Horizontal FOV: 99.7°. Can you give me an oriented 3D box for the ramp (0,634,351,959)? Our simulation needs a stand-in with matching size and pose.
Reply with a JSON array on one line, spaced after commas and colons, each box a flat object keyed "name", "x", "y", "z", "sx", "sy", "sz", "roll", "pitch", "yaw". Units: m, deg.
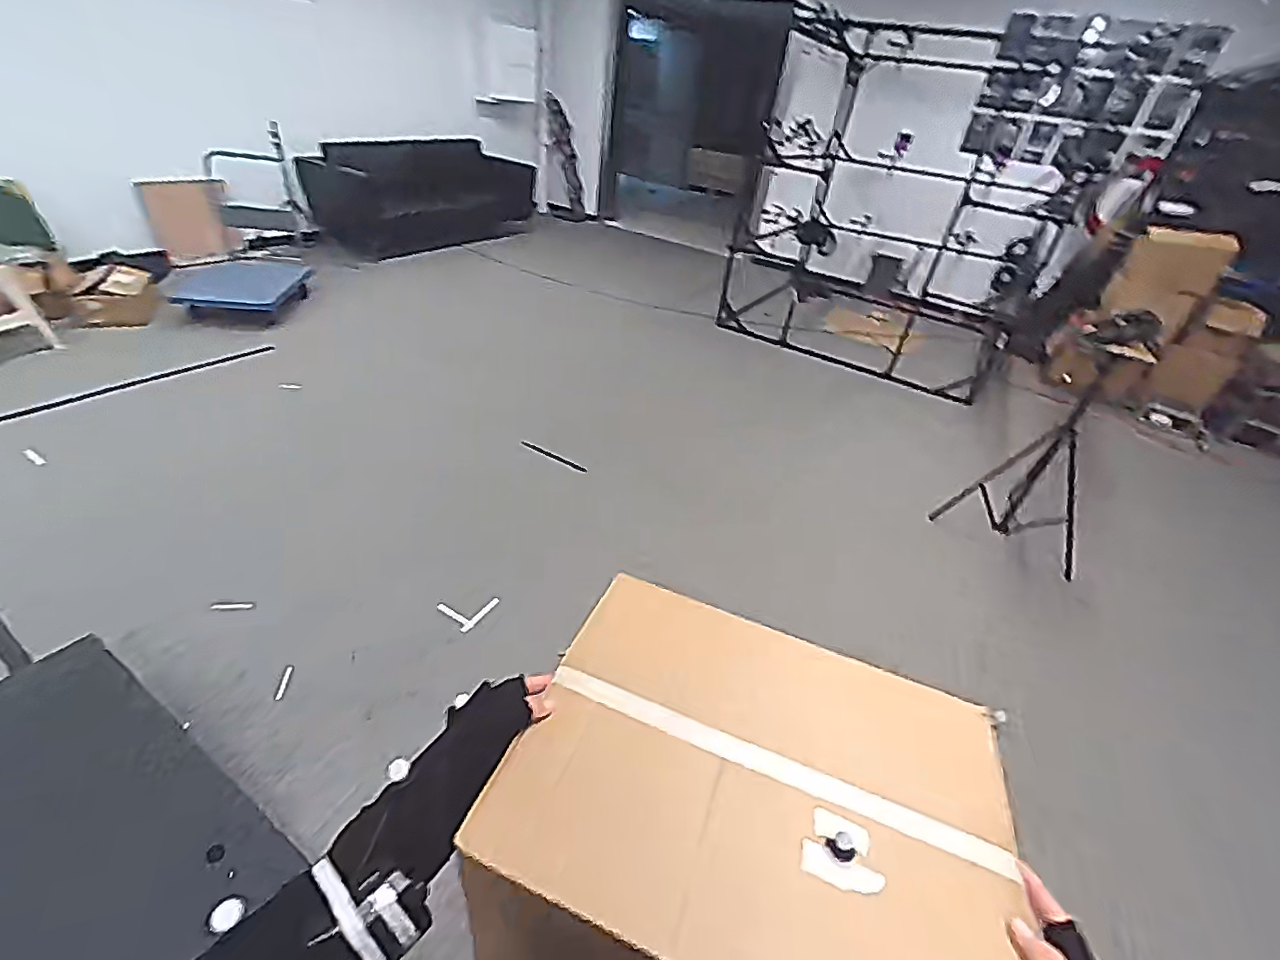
[{"name": "ramp", "x": -1.170, "y": 0.787, "z": 1.175, "sx": 0.991, "sy": 0.206, "sz": 0.509, "roll": 24, "pitch": 37, "yaw": 20}]

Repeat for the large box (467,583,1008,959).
[{"name": "large box", "x": 0.081, "y": 0.374, "z": 0.565, "sx": 0.408, "sy": 0.320, "sz": 0.320, "roll": 18, "pitch": 35, "yaw": 13}]
